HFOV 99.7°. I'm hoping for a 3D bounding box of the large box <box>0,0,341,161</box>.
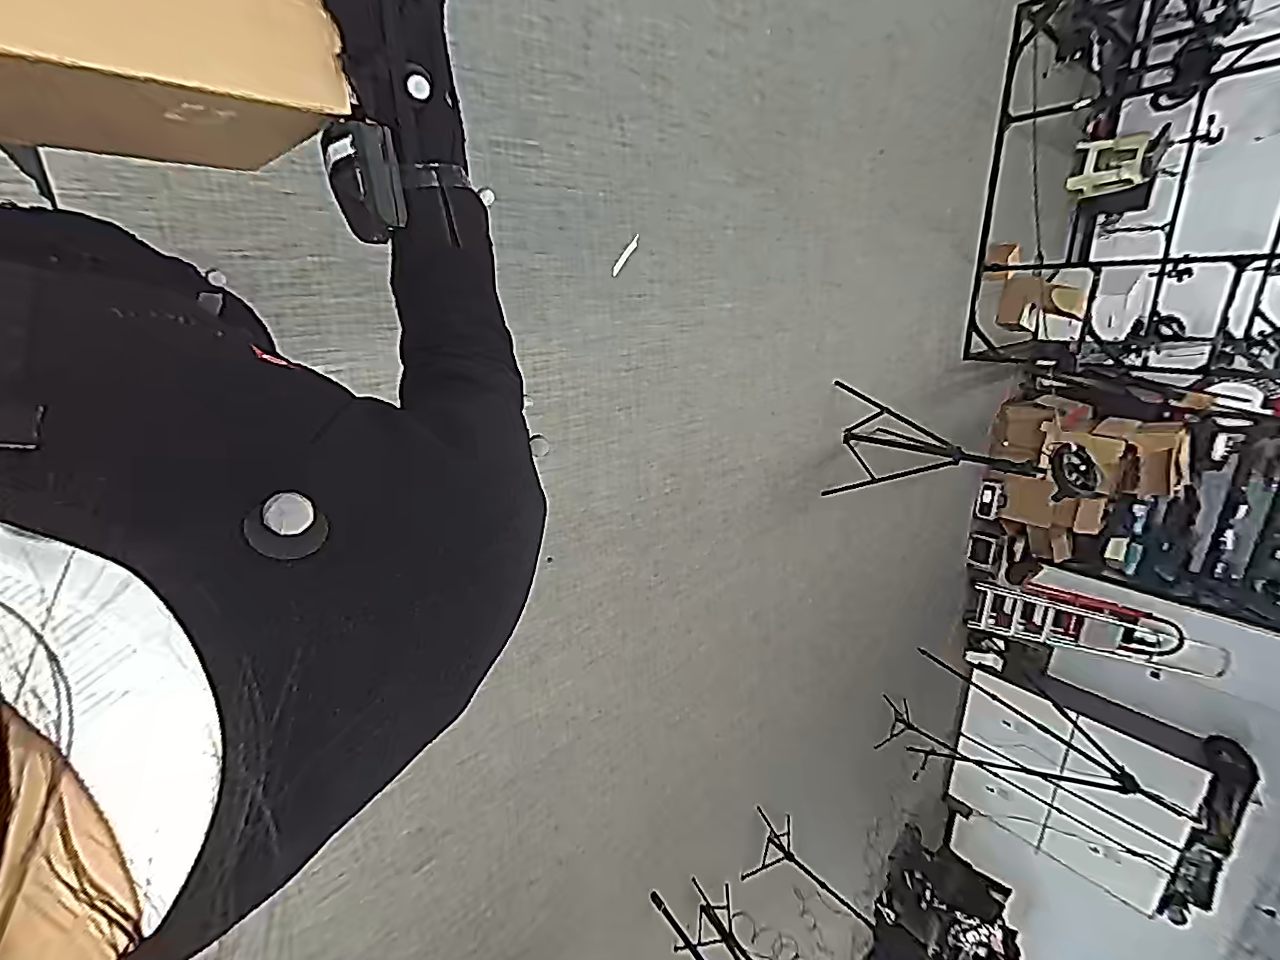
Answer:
[{"bbox_3d":[-0.435,-0.372,0.265,0.408,0.320,0.320,-18,119,-40],"label":"large box"}]
